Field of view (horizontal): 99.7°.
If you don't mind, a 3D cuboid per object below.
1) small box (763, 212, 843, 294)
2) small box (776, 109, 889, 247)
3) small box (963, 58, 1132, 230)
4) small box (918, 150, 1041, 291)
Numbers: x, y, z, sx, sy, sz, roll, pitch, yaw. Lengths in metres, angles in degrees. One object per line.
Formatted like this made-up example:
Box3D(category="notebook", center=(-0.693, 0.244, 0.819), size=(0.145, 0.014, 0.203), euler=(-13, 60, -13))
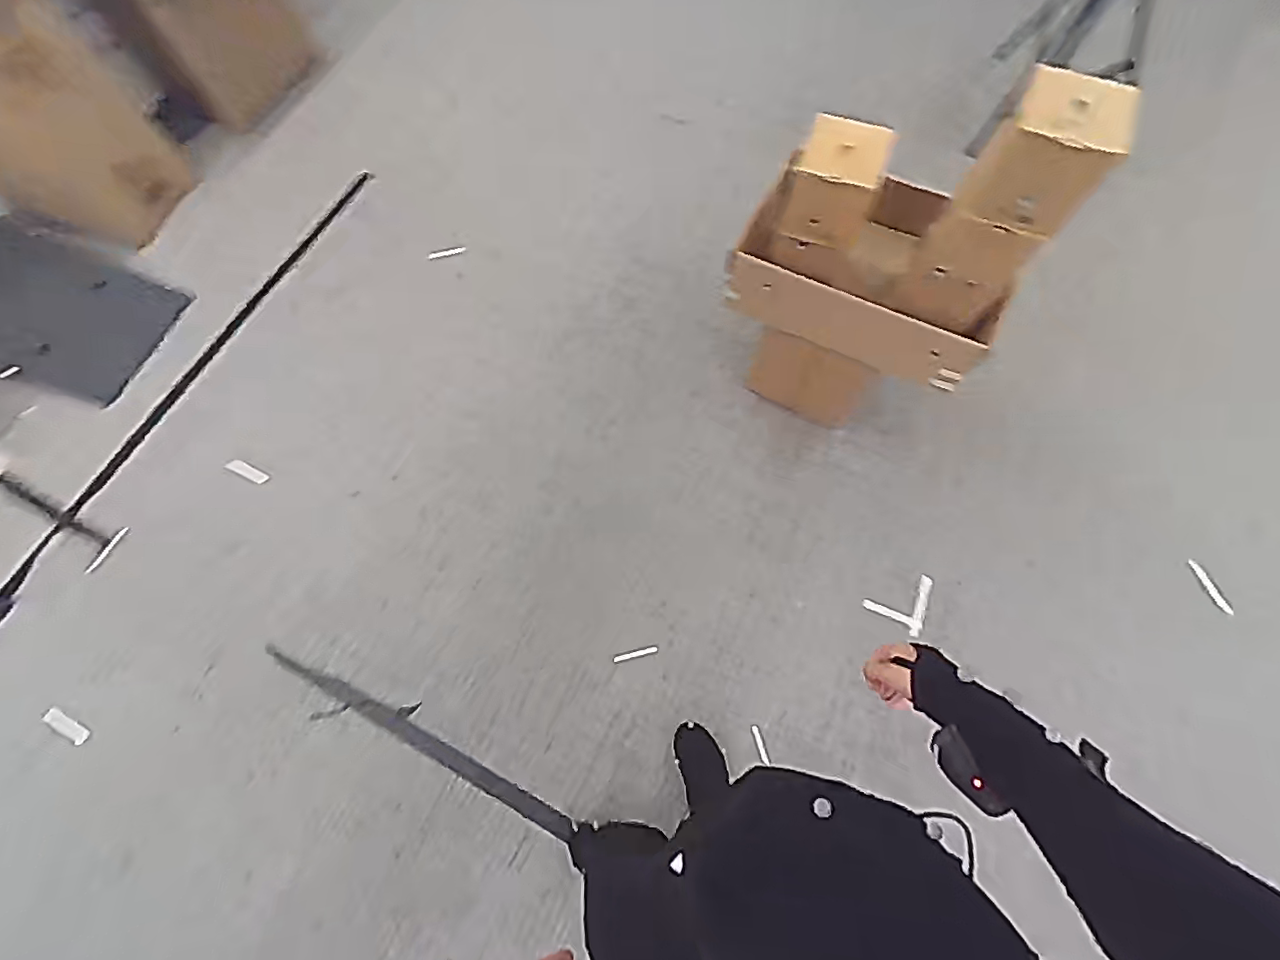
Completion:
Box3D(category="small box", center=(0.413, -0.594, 1.320), size=(0.168, 0.176, 0.179), euler=(22, 72, 10))
Box3D(category="small box", center=(0.406, -0.645, 1.165), size=(0.168, 0.176, 0.179), euler=(19, 73, 9))
Box3D(category="small box", center=(0.708, -0.587, 0.956), size=(0.168, 0.176, 0.179), euler=(22, 73, 9))
Box3D(category="small box", center=(0.699, -0.523, 1.108), size=(0.168, 0.176, 0.179), euler=(23, 72, 9))
